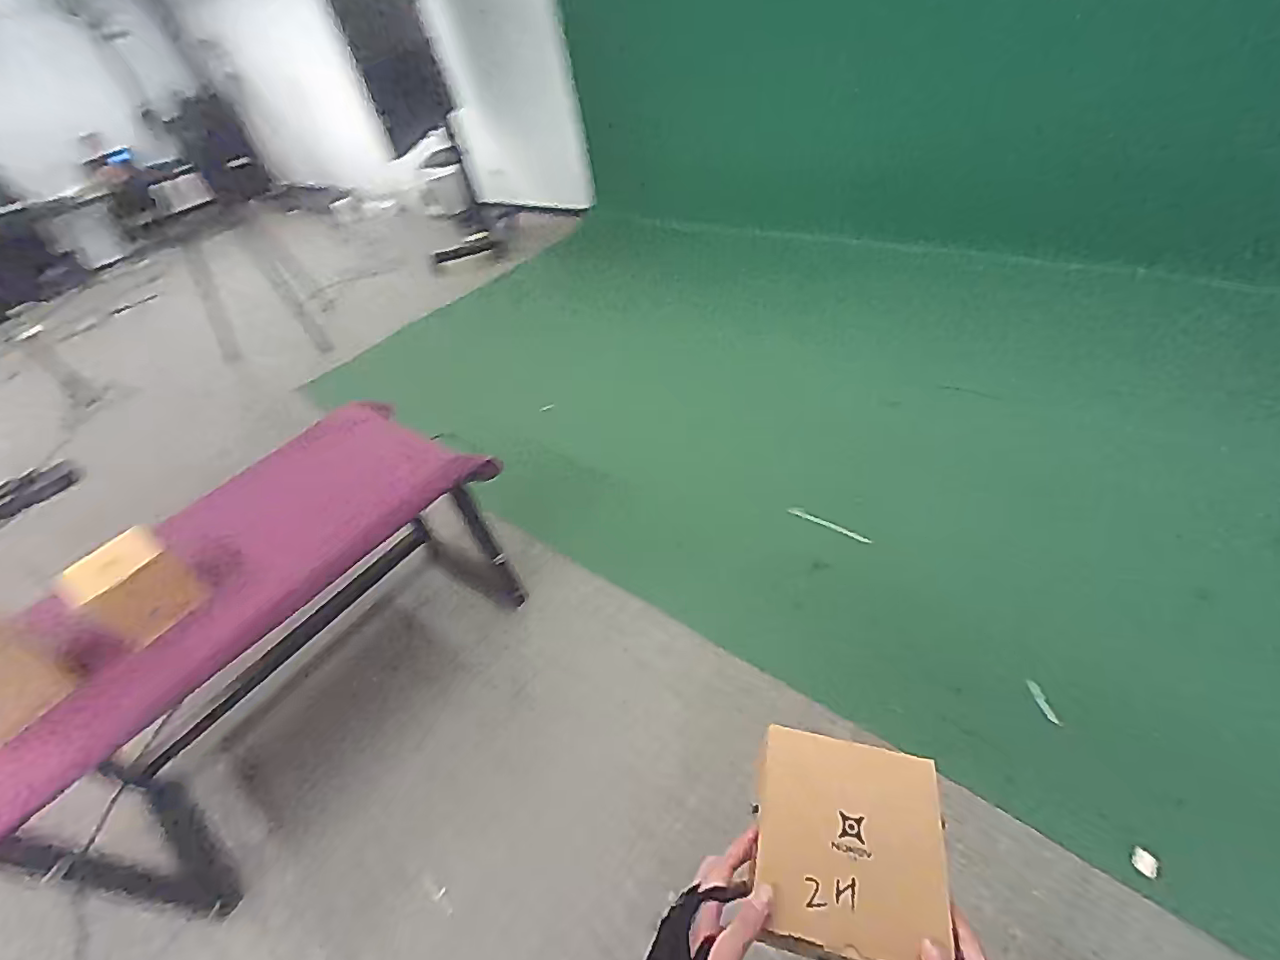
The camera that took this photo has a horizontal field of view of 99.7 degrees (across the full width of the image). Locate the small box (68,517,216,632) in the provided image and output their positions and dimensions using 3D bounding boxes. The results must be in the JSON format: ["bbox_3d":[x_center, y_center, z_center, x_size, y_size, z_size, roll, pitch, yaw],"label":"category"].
[{"bbox_3d":[-1.146,0.221,1.254,0.179,0.176,0.168,22,53,30],"label":"small box"}]

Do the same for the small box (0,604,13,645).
[{"bbox_3d":[-1.352,0.268,1.007,0.179,0.176,0.168,21,52,30],"label":"small box"}]
